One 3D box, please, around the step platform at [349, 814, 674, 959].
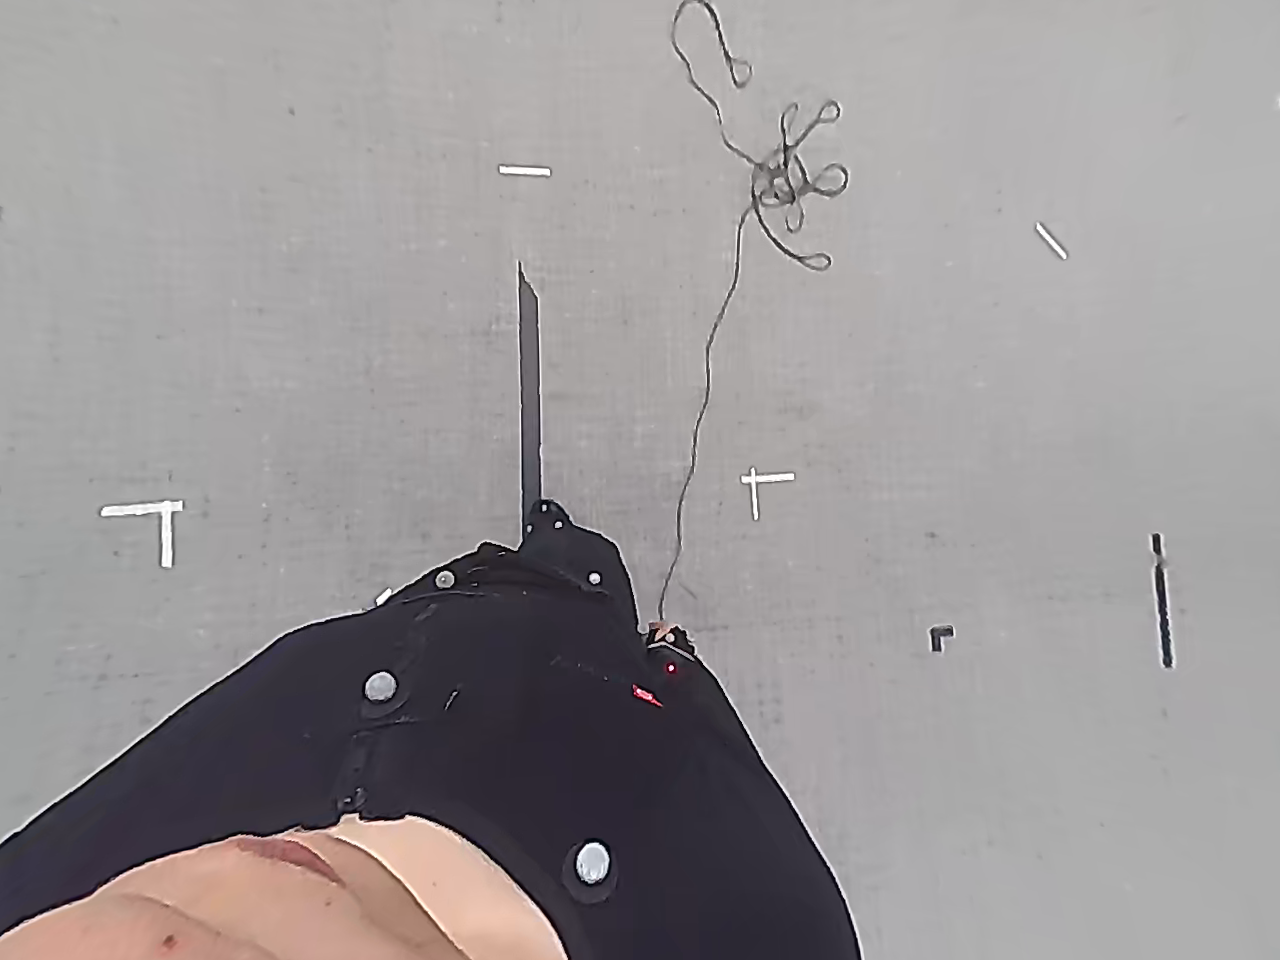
[{"bbox_3d":[-0.265,0.947,1.206,0.684,0.204,0.286,3,83,-5],"label":"step platform"}]
